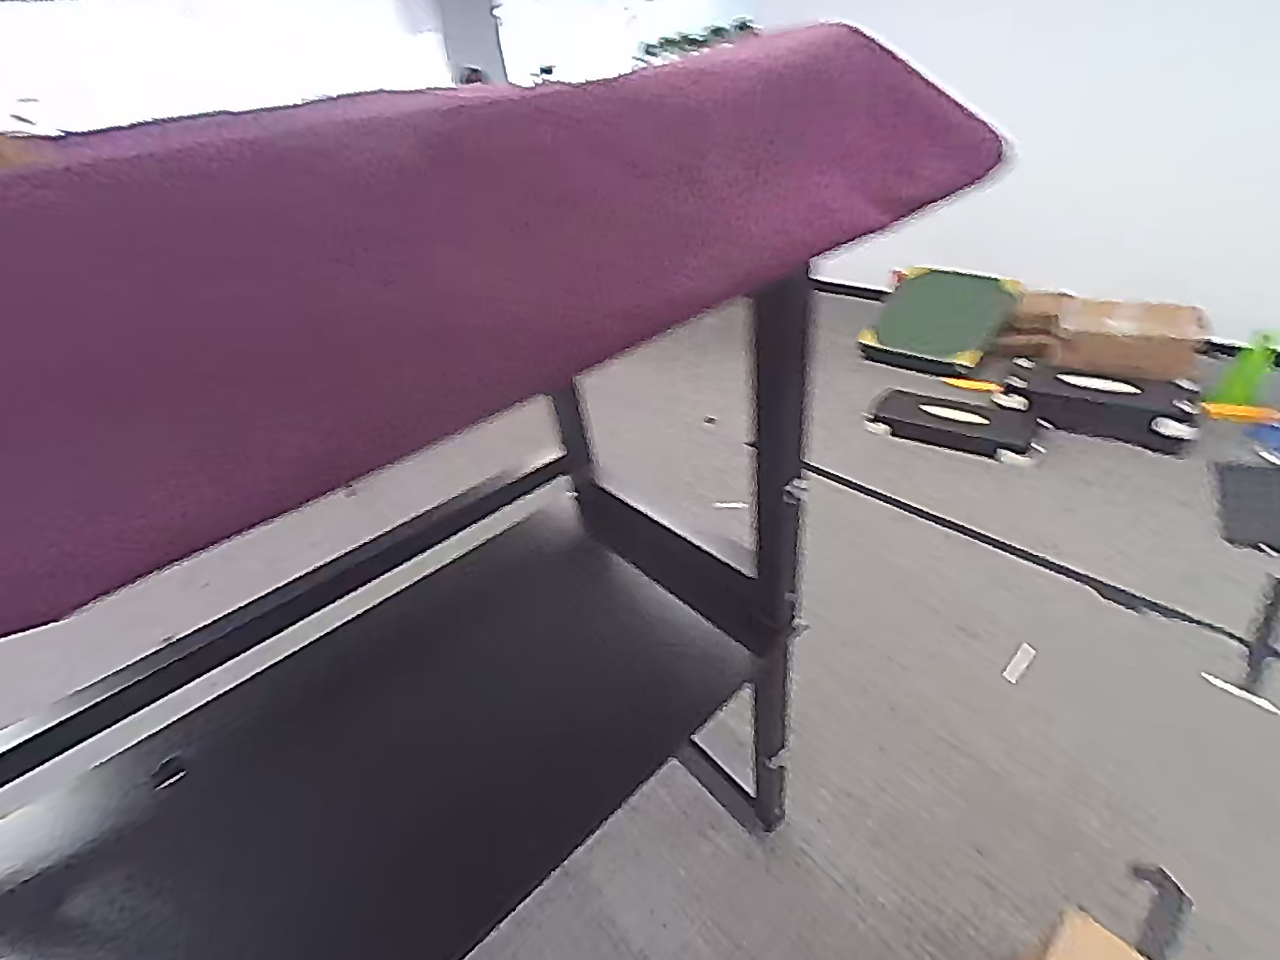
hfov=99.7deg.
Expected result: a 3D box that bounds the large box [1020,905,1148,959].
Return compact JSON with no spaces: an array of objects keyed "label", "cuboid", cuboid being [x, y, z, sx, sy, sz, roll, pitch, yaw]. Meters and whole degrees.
[{"label":"large box","cuboid":[0.673,0.961,0.774,0.408,0.320,0.320,-31,42,-28]}]
